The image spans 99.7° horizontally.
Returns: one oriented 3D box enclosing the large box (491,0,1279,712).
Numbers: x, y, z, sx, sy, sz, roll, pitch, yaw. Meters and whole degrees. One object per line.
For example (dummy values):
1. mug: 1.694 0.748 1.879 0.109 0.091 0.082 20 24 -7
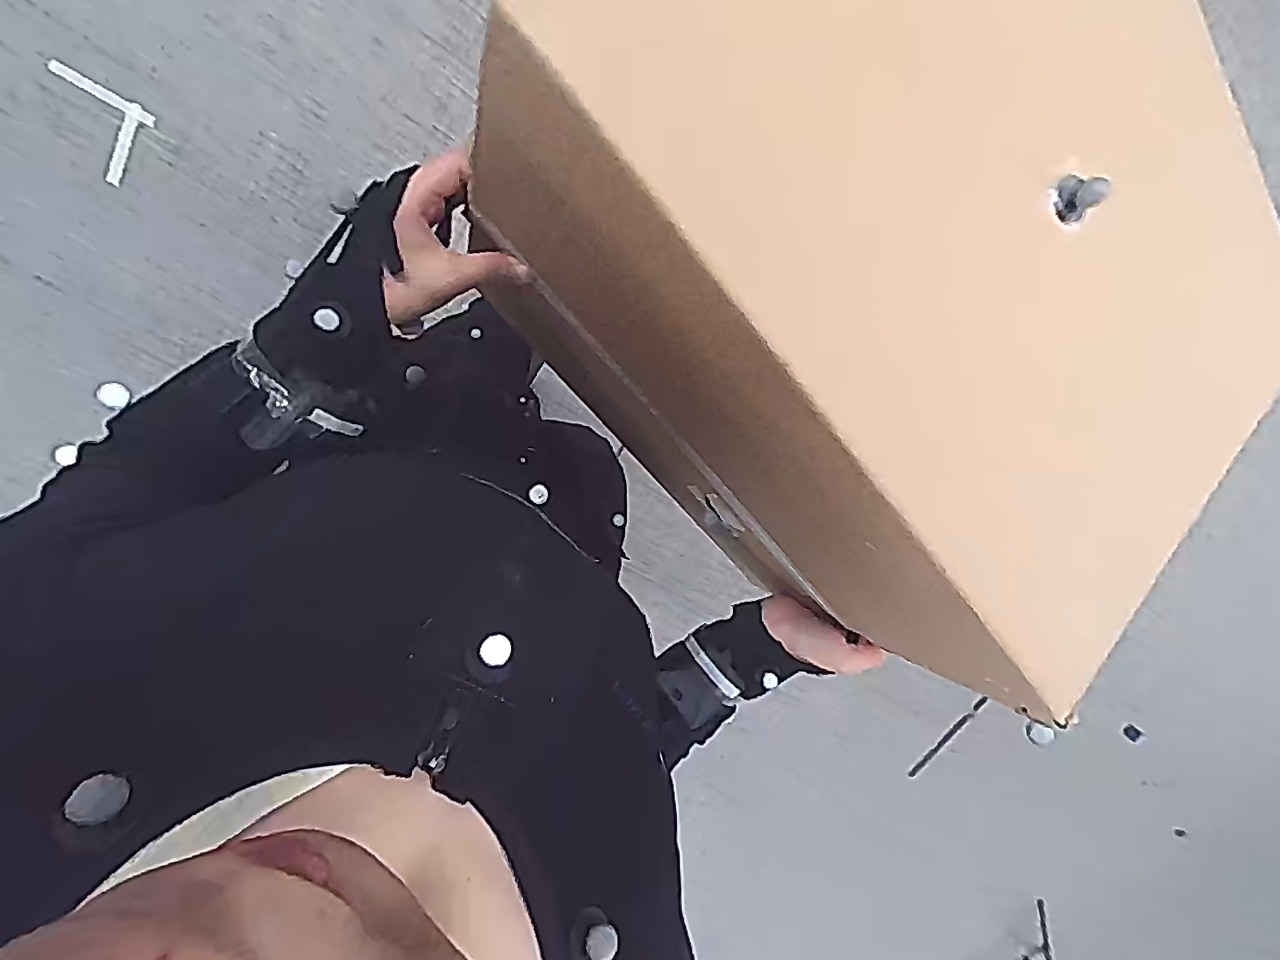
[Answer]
1. large box: 0.160 -0.143 0.370 0.320 0.320 0.408 -47 107 -9
